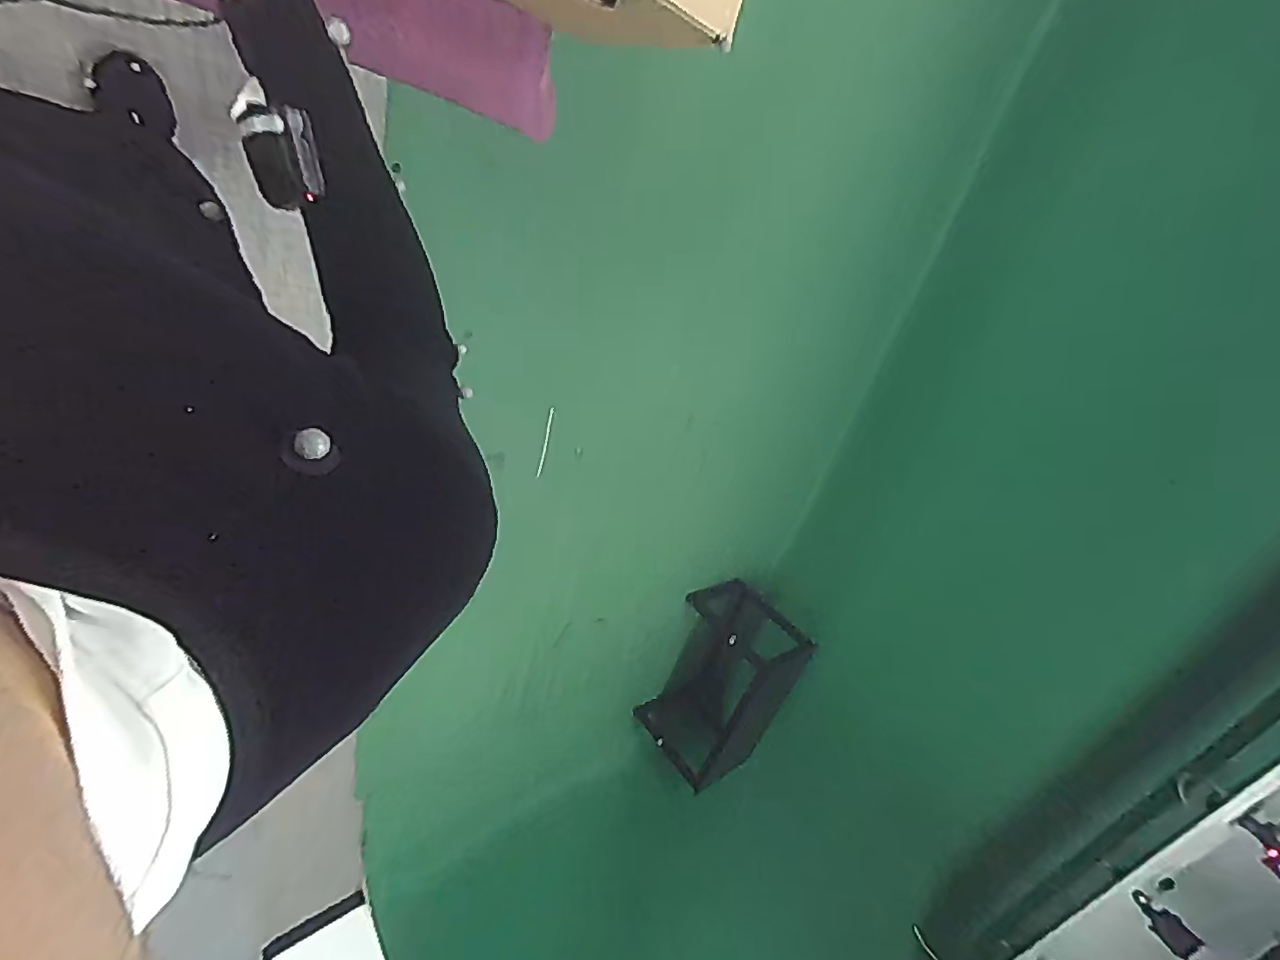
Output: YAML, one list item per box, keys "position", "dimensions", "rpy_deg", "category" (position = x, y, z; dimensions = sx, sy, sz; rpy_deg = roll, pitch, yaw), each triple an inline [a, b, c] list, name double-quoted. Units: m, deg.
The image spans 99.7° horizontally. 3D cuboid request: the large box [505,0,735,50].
- position: [-0.055, -0.730, 0.529]
  dimensions: [0.320, 0.320, 0.408]
  rpy_deg: [-8, 127, -40]
  category: "large box"
